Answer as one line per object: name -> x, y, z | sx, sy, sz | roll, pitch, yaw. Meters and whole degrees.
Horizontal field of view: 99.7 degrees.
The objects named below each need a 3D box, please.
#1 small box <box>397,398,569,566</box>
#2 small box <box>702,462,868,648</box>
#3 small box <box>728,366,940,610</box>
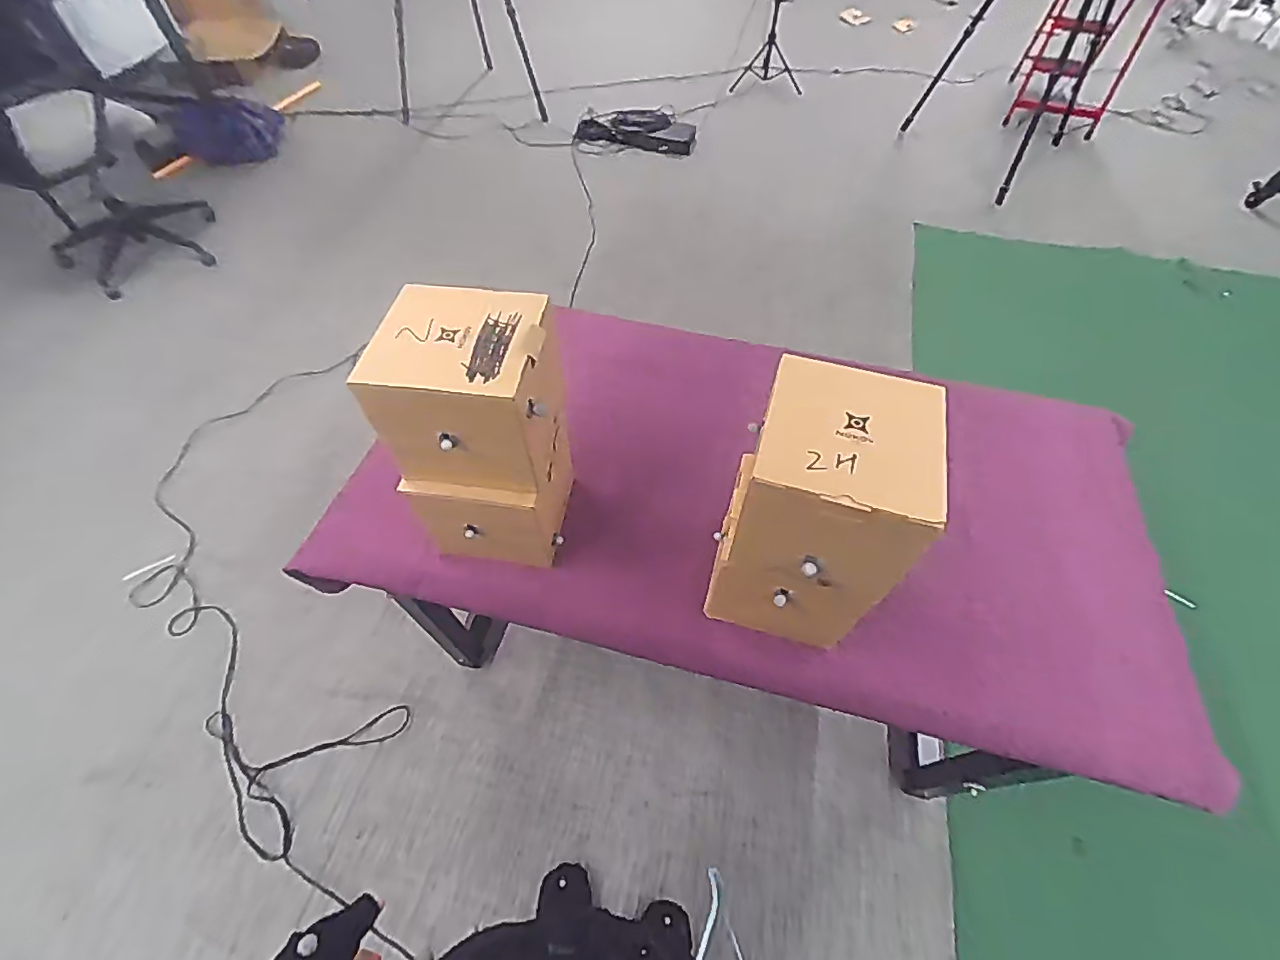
small box -> -0.205, 0.009, 0.771 | 0.179, 0.176, 0.168 | 8, 55, 4
small box -> 0.191, 0.106, 0.721 | 0.179, 0.176, 0.168 | 14, 56, 9
small box -> 0.201, 0.011, 0.586 | 0.168, 0.176, 0.179 | 16, 56, 10
